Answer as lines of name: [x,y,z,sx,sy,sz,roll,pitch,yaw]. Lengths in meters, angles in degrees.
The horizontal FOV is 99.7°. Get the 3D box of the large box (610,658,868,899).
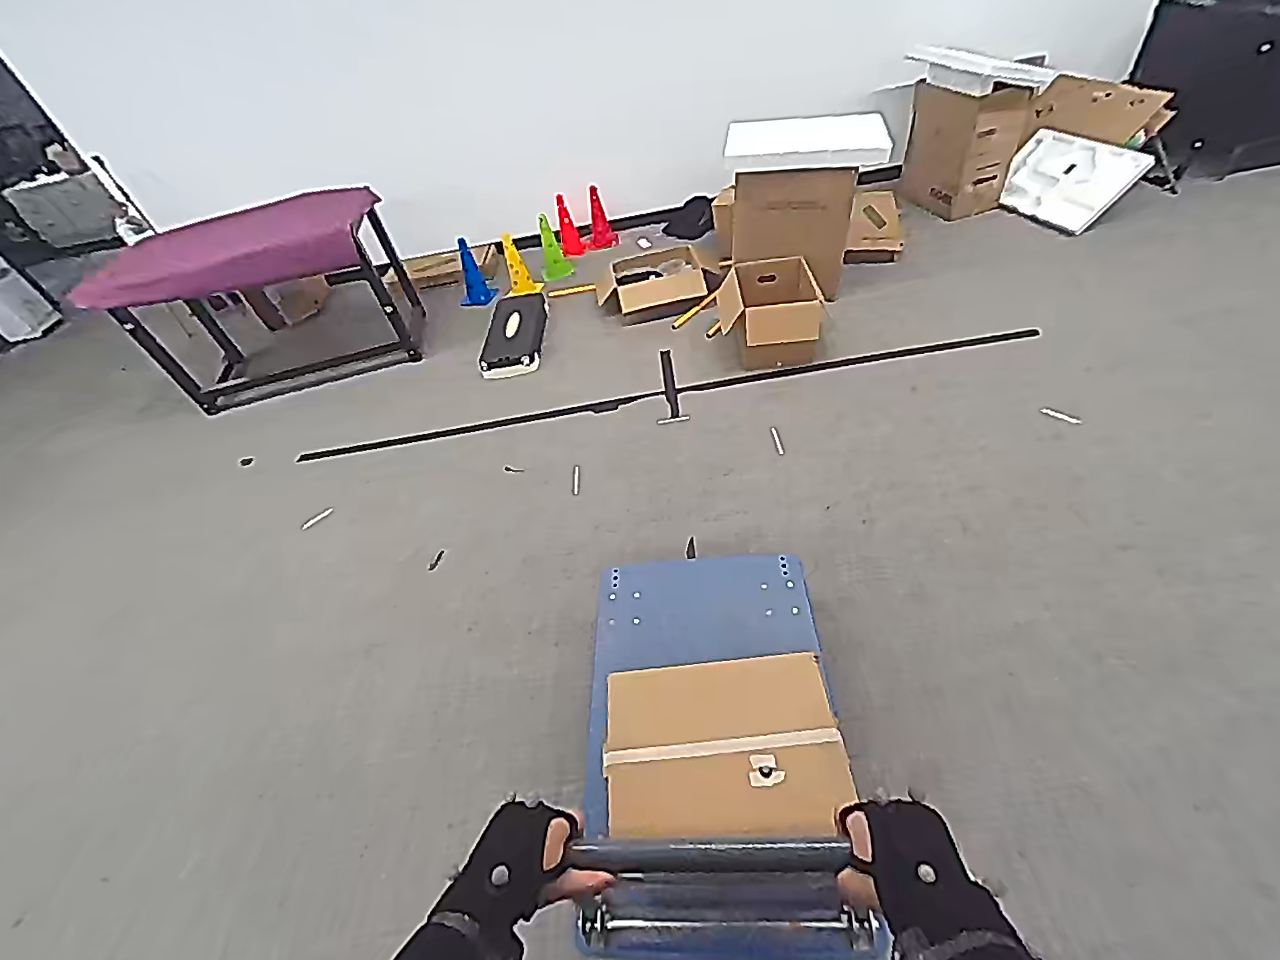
large box: [0.165,0.581,1.049,0.408,0.320,0.320,-7,46,3]
